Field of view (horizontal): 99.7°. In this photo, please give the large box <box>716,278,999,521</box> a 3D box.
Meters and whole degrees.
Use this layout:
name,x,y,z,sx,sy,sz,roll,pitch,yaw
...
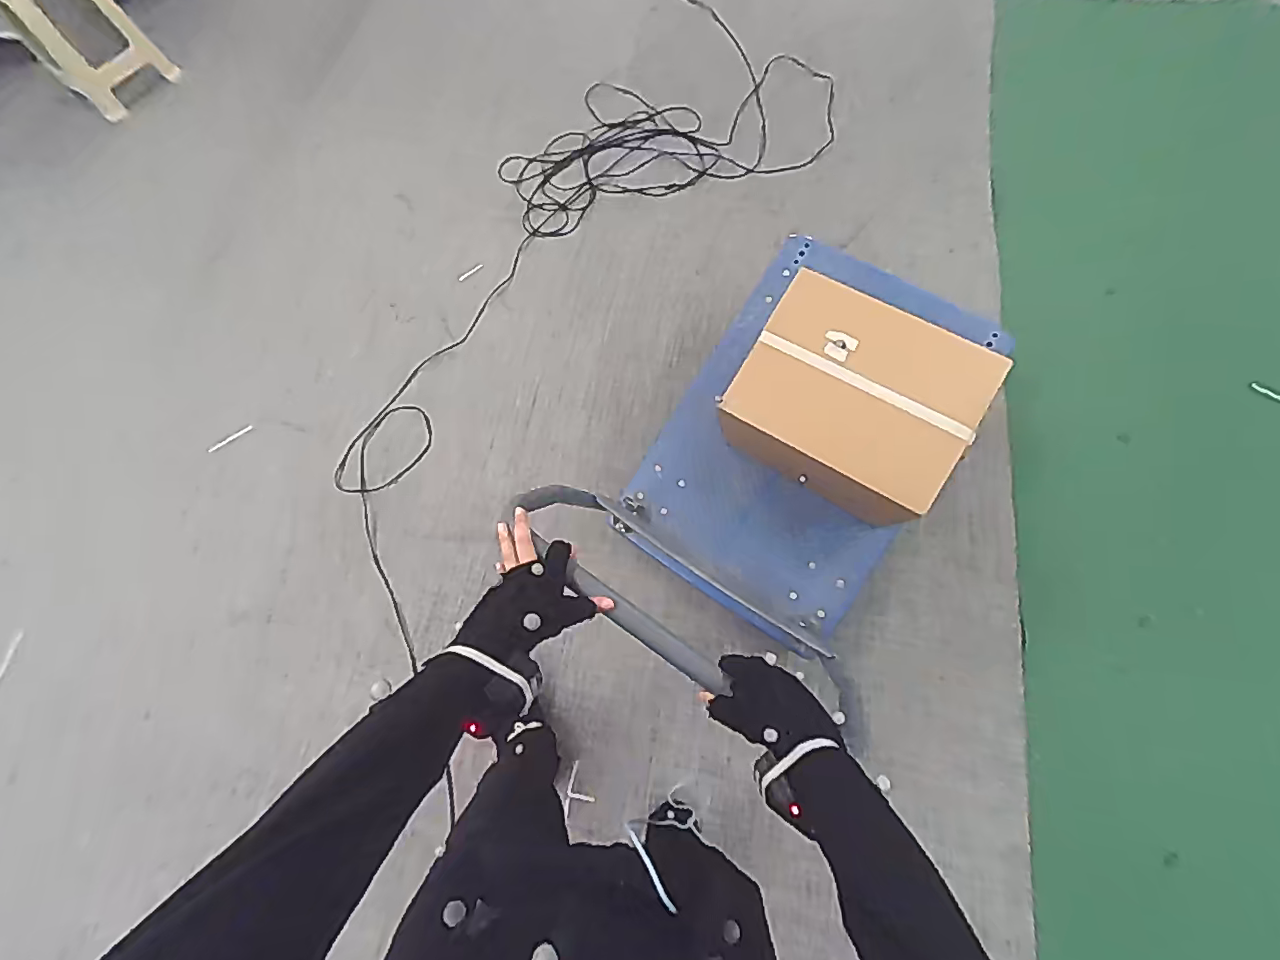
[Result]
name,x,y,z,sx,sy,sz,roll,pitch,yaw
large box,0.418,-0.144,1.126,0.408,0.320,0.320,30,88,15
